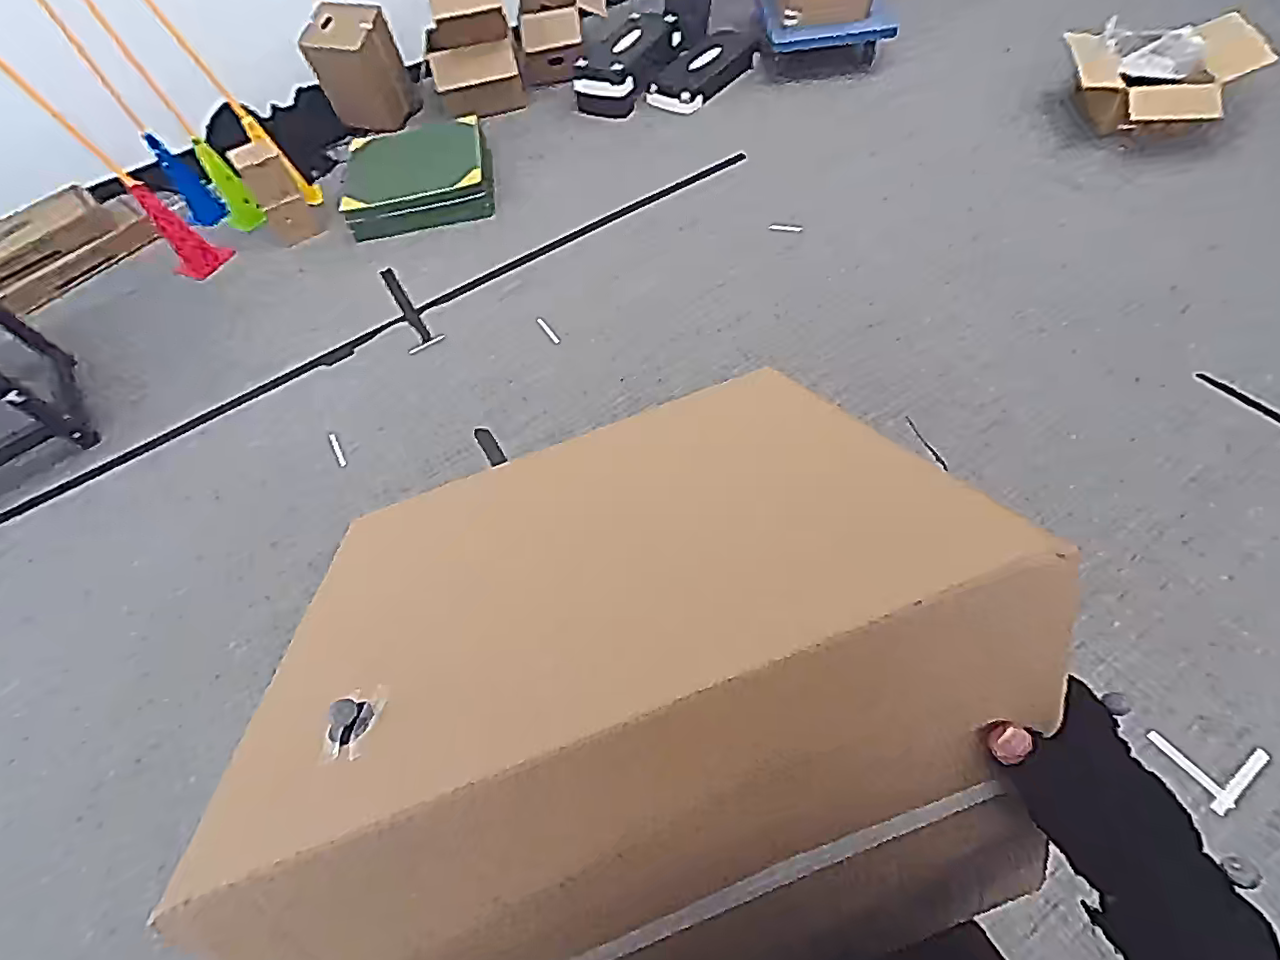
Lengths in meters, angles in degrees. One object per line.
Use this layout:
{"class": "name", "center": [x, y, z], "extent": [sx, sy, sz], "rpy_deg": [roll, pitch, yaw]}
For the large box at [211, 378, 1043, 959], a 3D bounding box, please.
{"class": "large box", "center": [0.011, 0.157, 0.438], "extent": [0.408, 0.320, 0.320], "rpy_deg": [-20, 29, -2]}
